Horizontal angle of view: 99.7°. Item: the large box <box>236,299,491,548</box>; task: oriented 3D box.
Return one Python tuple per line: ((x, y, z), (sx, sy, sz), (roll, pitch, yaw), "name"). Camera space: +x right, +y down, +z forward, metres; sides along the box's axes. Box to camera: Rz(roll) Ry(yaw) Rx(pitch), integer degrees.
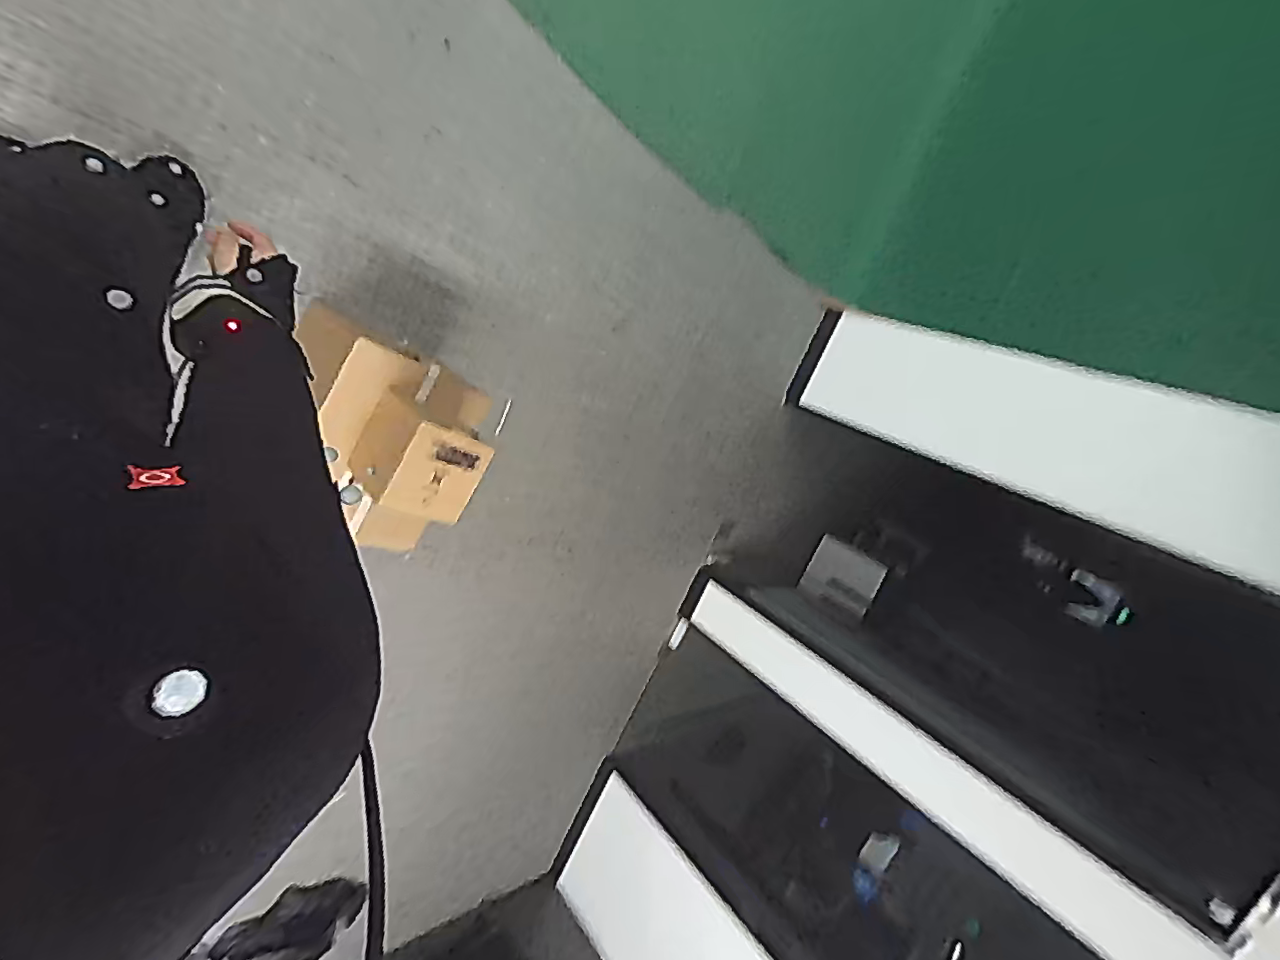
((-0.606, -0.118, 1.188), (0.320, 0.320, 0.408), (25, 98, -50), "large box")
